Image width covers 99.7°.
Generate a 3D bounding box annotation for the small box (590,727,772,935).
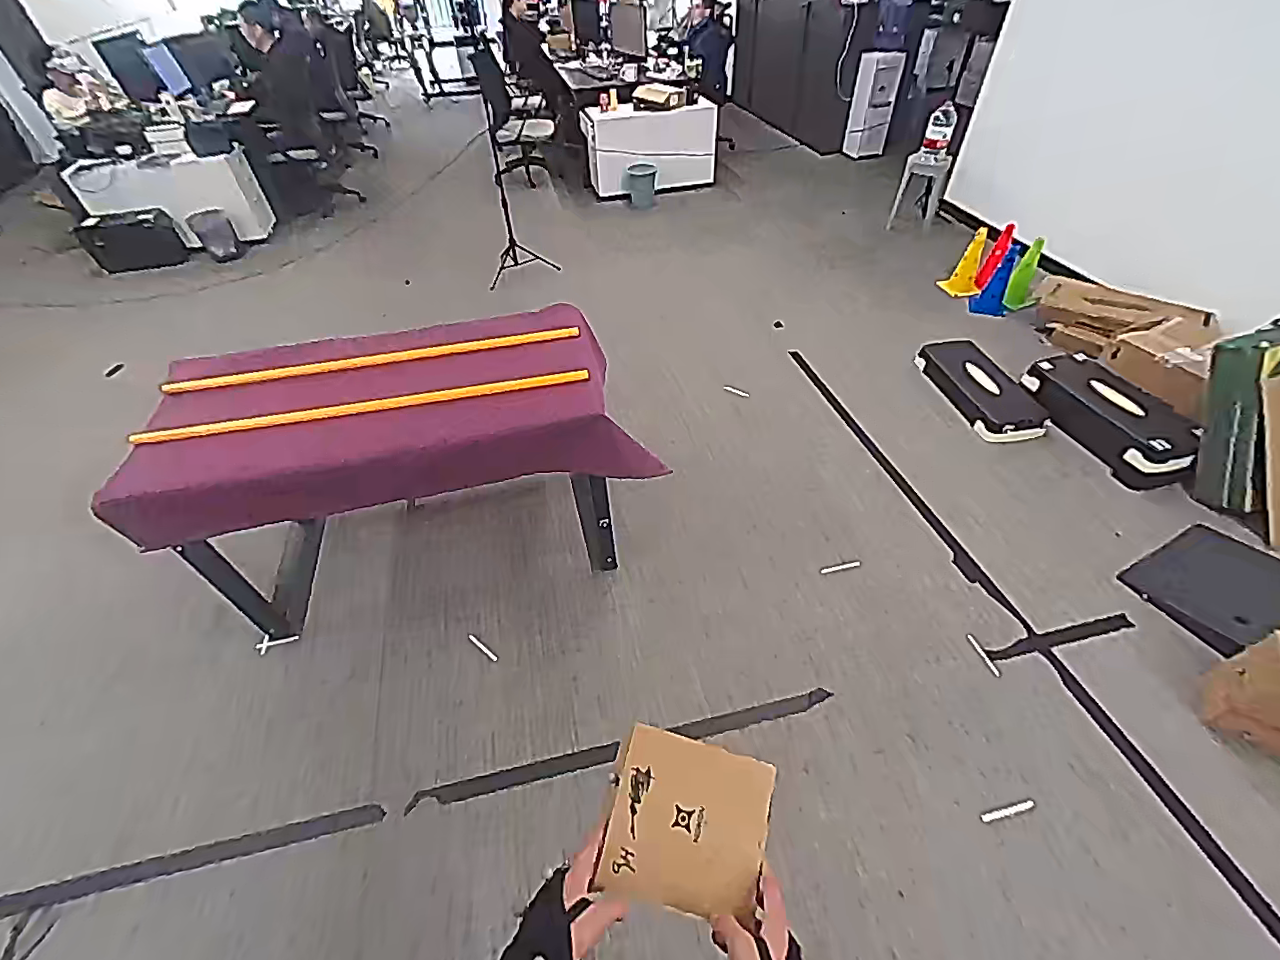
[{"bbox_3d":[0.045,0.425,0.684,0.179,0.176,0.168,18,63,2],"label":"small box"}]
